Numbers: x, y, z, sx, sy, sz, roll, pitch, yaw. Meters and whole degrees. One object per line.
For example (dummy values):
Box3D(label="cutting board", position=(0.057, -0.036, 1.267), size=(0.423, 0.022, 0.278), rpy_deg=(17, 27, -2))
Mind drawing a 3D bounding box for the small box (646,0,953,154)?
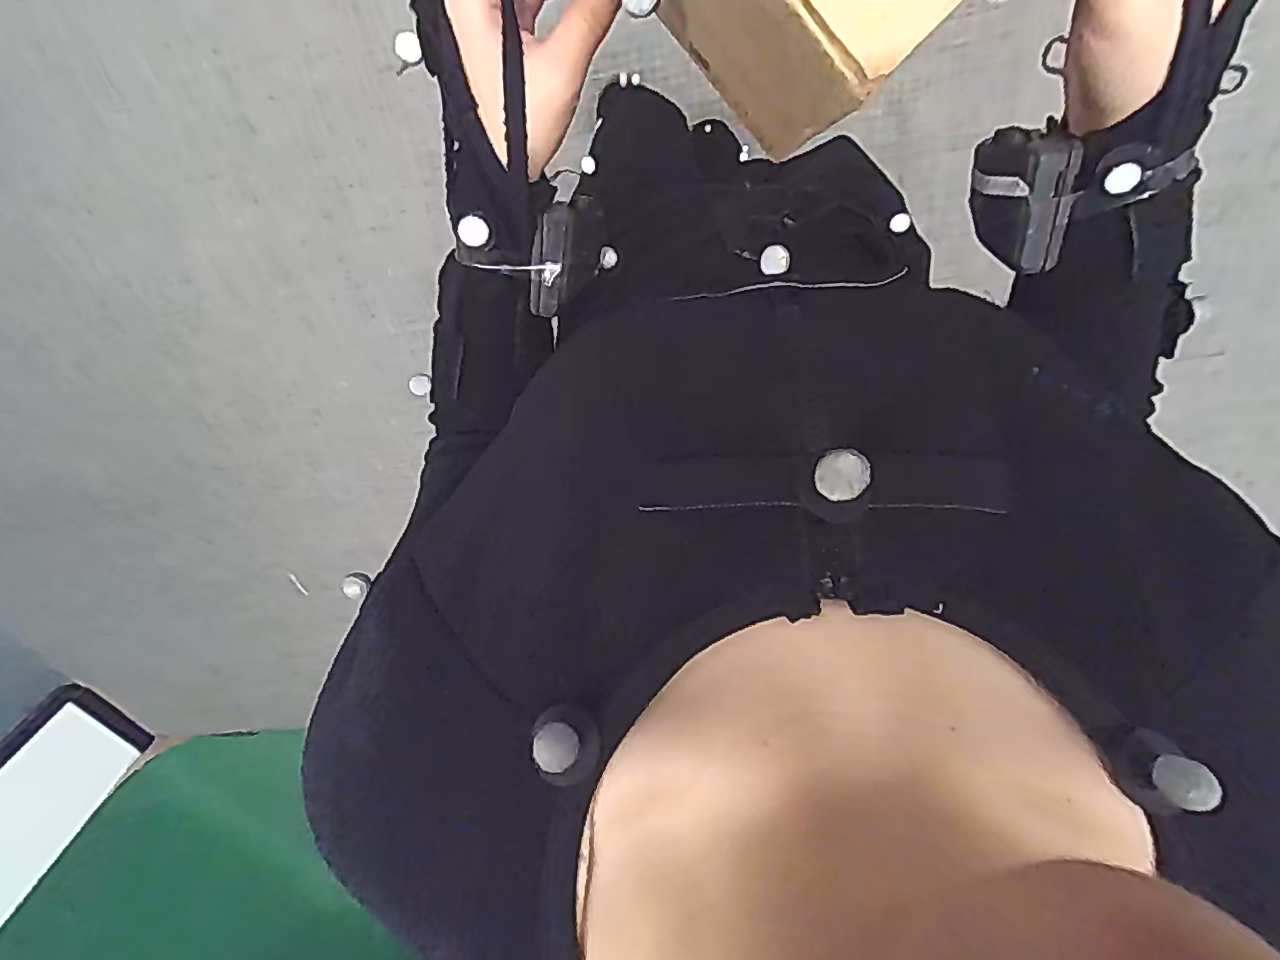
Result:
Box3D(label="small box", position=(0.068, -0.241, 0.173), size=(0.168, 0.176, 0.179), rpy_deg=(43, 113, -13))
